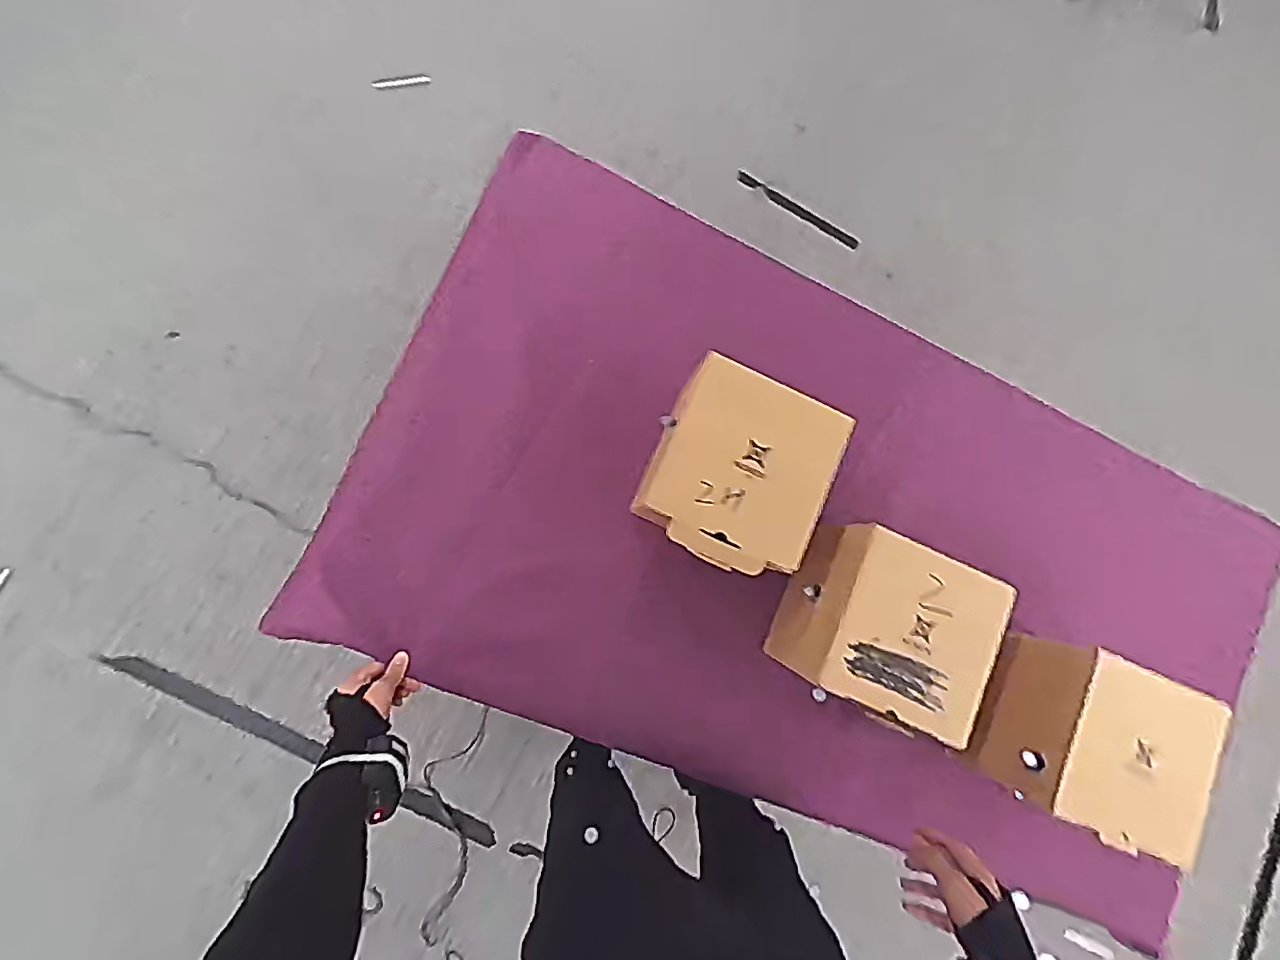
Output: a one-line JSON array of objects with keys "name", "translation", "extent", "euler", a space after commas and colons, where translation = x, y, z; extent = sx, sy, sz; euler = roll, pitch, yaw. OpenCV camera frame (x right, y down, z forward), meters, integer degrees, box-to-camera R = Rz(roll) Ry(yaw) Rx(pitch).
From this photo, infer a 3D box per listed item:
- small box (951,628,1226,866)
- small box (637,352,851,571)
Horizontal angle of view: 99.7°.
[{"name": "small box", "translation": [0.510, 0.294, 0.639], "extent": [0.168, 0.176, 0.179], "euler": [23, 83, -3]}, {"name": "small box", "translation": [0.104, -0.013, 0.623], "extent": [0.168, 0.176, 0.179], "euler": [25, 83, -3]}]
